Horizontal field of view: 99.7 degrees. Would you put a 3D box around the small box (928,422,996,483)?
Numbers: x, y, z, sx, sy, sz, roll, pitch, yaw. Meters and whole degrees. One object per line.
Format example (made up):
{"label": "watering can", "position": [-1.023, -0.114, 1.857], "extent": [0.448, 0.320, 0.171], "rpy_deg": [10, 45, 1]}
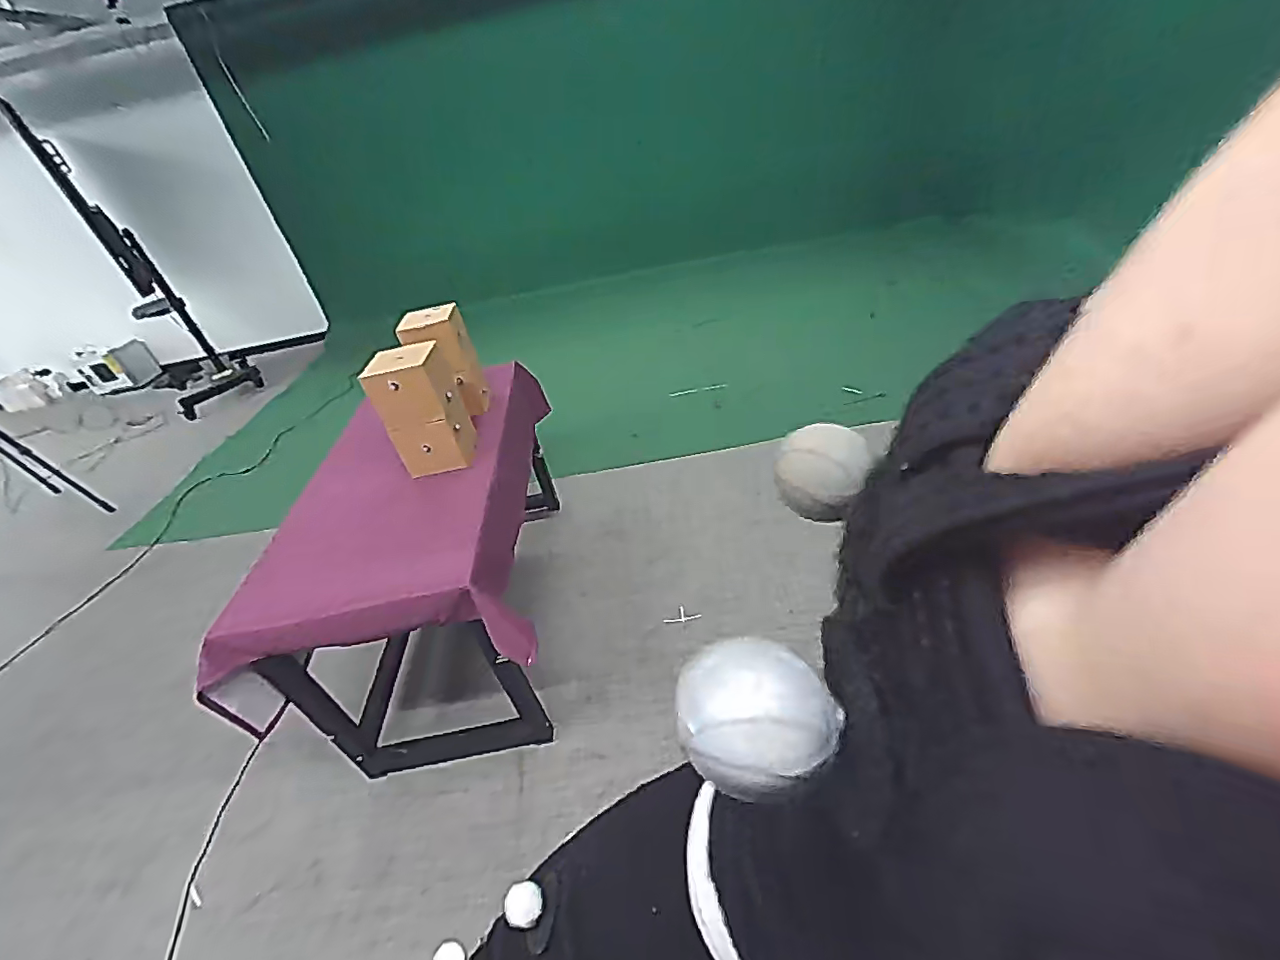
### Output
{"label": "small box", "position": [1.332, -0.115, 2.250], "extent": [0.168, 0.176, 0.179], "rpy_deg": [-17, 36, -6]}

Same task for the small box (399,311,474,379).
{"label": "small box", "position": [-0.658, -0.430, 1.771], "extent": [0.168, 0.176, 0.179], "rpy_deg": [-12, 36, -1]}

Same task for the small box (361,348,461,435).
{"label": "small box", "position": [-0.628, -0.243, 1.505], "extent": [0.179, 0.176, 0.168], "rpy_deg": [-11, 36, 4]}

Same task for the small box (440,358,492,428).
{"label": "small box", "position": [-0.631, -0.298, 1.866], "extent": [0.179, 0.176, 0.168], "rpy_deg": [-12, 36, -1]}
